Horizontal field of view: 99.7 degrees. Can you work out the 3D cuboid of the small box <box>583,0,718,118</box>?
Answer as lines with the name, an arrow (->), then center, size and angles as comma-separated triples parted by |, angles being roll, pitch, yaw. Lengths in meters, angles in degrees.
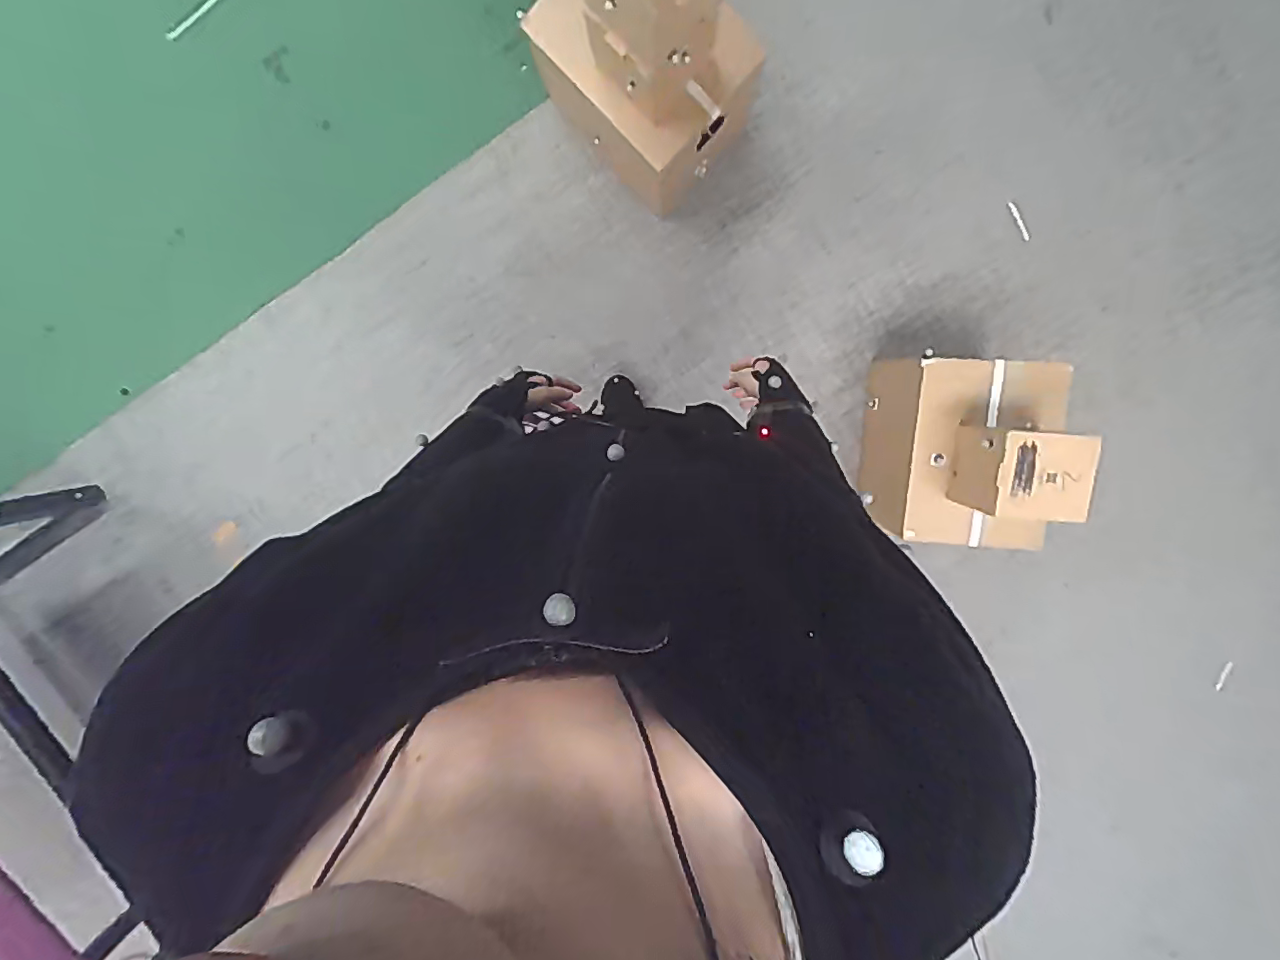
small box -> 0.024, -0.813, 0.979 | 0.179, 0.176, 0.168 | -44, 95, 8

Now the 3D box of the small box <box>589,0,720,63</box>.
small box -> 0.021, -0.786, 0.817 | 0.179, 0.176, 0.168 | 44, 99, -5

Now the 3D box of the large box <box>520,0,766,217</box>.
large box -> 0.015, -0.891, 1.214 | 0.408, 0.320, 0.320 | 45, 97, -3
